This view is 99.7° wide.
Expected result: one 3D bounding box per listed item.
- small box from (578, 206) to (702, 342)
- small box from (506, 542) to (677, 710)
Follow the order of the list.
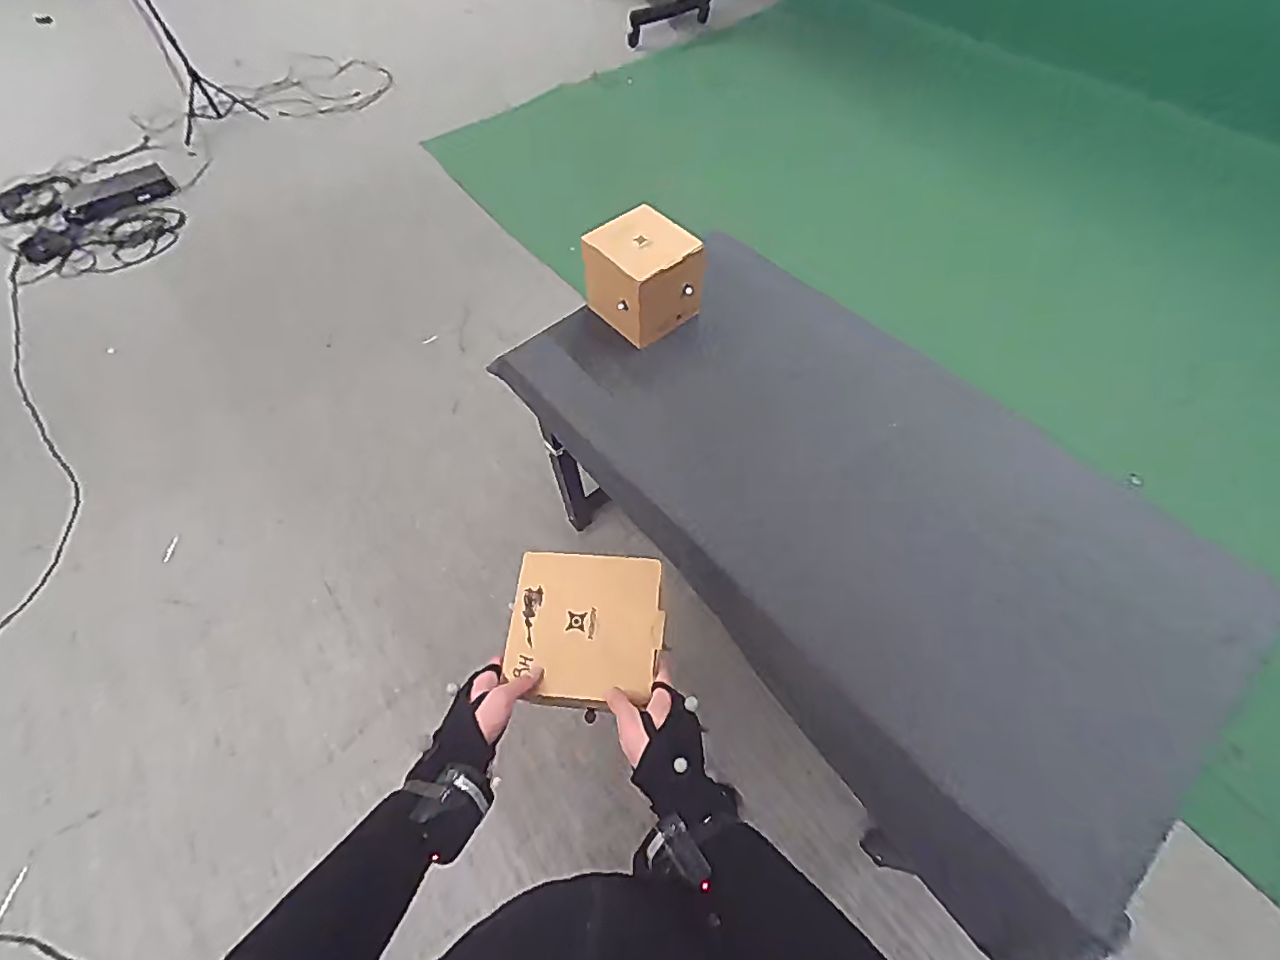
[{"bbox_3d":[-0.001,-0.401,1.074,0.168,0.176,0.179,-37,64,-23],"label":"small box"},{"bbox_3d":[-0.049,0.190,0.679,0.179,0.176,0.168,4,63,3],"label":"small box"}]
